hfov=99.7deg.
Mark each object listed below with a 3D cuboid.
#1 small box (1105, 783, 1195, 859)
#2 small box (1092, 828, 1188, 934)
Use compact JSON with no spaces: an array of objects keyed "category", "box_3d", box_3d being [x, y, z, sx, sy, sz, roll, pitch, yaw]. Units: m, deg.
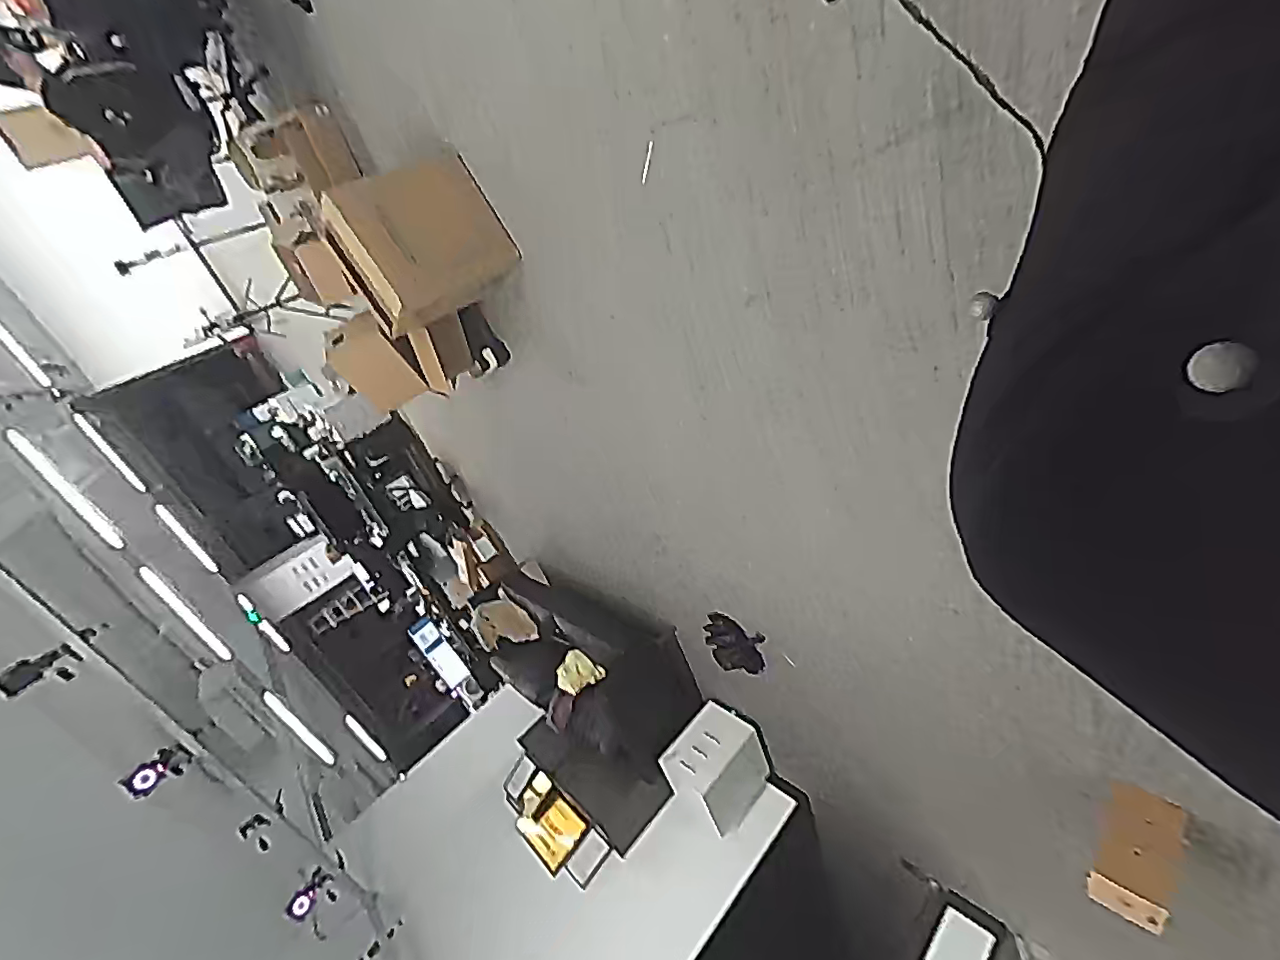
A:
[{"category":"small box","box_3d":[1.625,1.111,1.725,0.179,0.176,0.168,13,133,50]},{"category":"small box","box_3d":[1.518,1.206,1.645,0.179,0.176,0.168,16,135,47]}]
